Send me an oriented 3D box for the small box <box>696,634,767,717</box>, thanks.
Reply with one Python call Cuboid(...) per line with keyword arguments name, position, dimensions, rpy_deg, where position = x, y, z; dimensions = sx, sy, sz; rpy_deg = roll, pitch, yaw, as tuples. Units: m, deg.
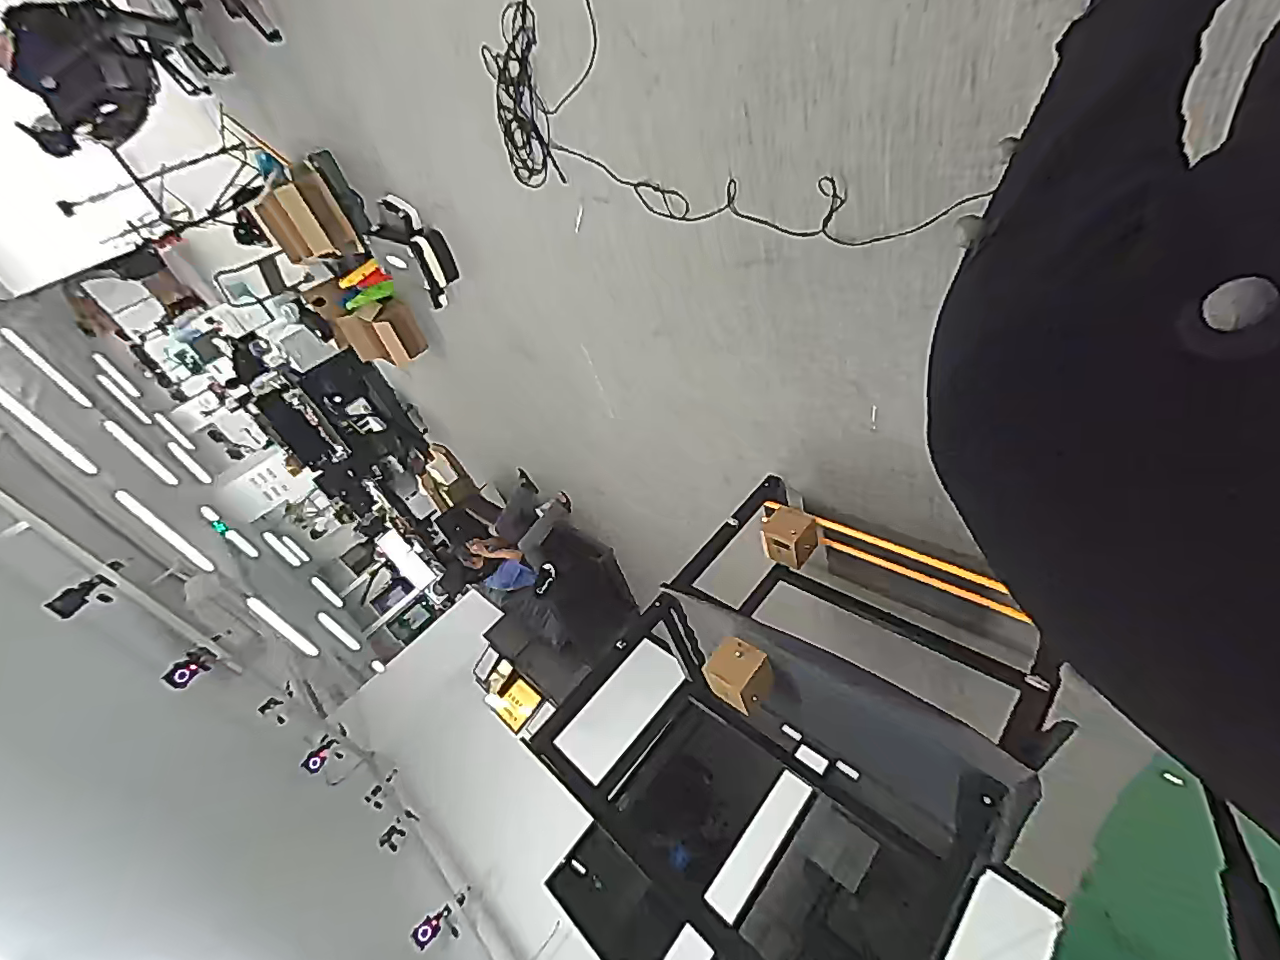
Cuboid(name="small box", position=(0.327, 0.679, 1.890), dimensions=(0.168, 0.176, 0.179), rpy_deg=(20, 144, 42))
